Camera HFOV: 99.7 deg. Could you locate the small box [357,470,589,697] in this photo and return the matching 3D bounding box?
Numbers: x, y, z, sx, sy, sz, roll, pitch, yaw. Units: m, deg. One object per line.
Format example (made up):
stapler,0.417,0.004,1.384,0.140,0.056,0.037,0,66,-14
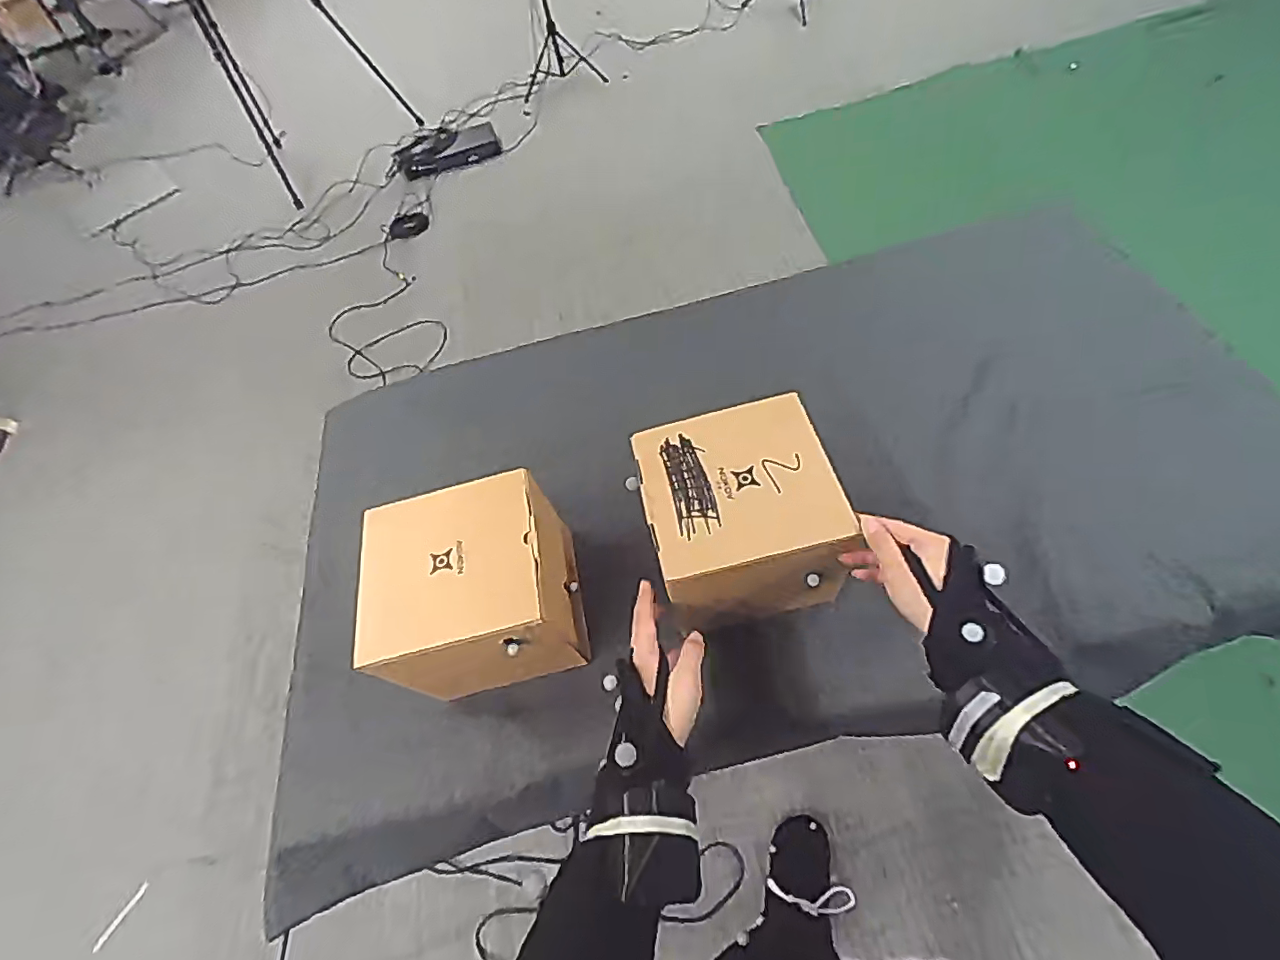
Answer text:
small box,-0.167,0.119,0.580,0.179,0.176,0.168,-15,57,1
